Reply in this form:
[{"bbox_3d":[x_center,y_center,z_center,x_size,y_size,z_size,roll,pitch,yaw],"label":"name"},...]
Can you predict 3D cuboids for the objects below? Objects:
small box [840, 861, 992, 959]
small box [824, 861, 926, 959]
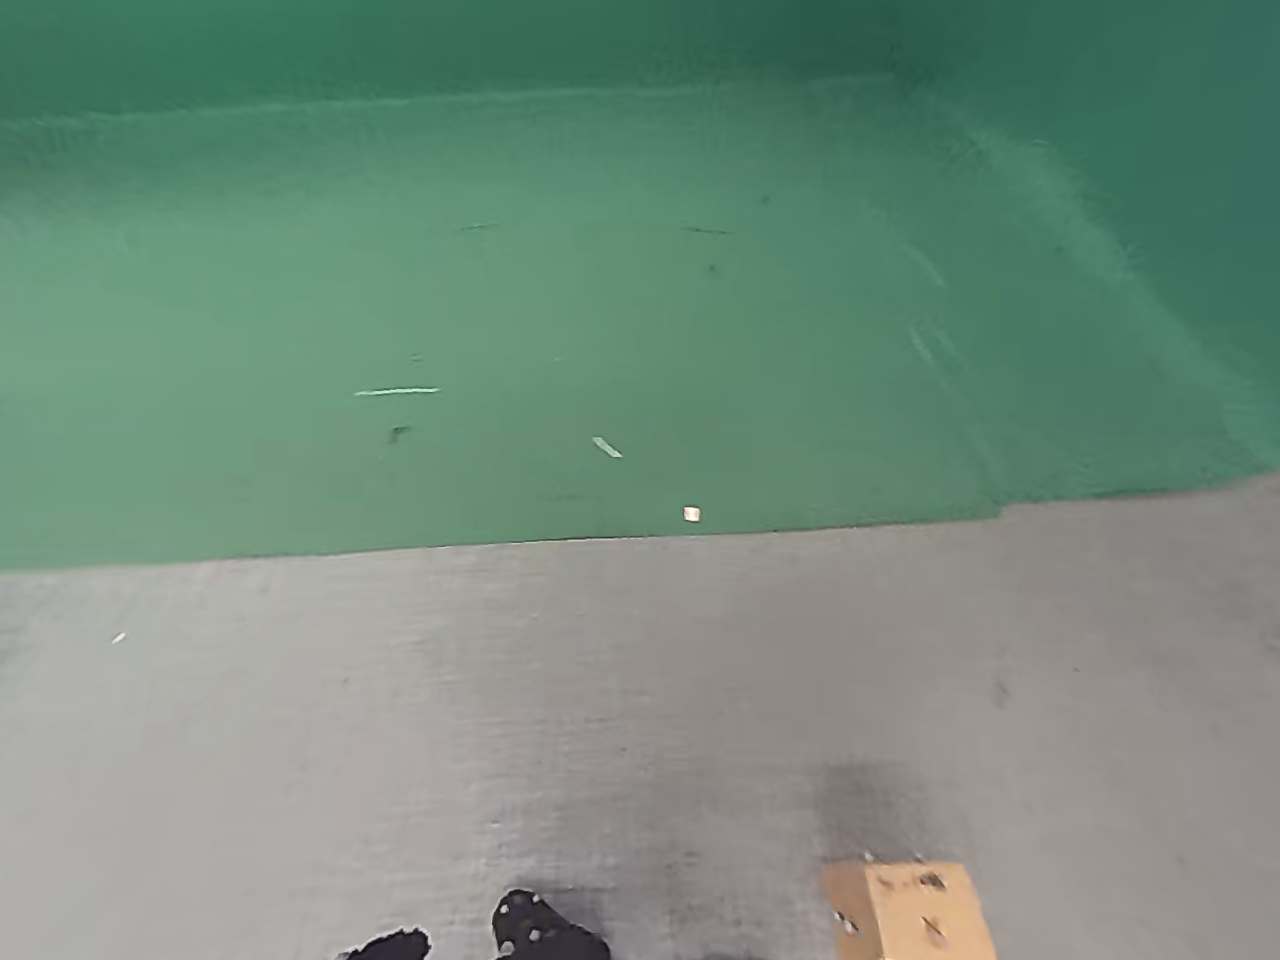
[{"bbox_3d":[0.447,0.739,0.890,0.168,0.176,0.179,-1,55,1],"label":"small box"},{"bbox_3d":[0.463,0.832,1.023,0.168,0.176,0.179,-3,53,0],"label":"small box"}]
